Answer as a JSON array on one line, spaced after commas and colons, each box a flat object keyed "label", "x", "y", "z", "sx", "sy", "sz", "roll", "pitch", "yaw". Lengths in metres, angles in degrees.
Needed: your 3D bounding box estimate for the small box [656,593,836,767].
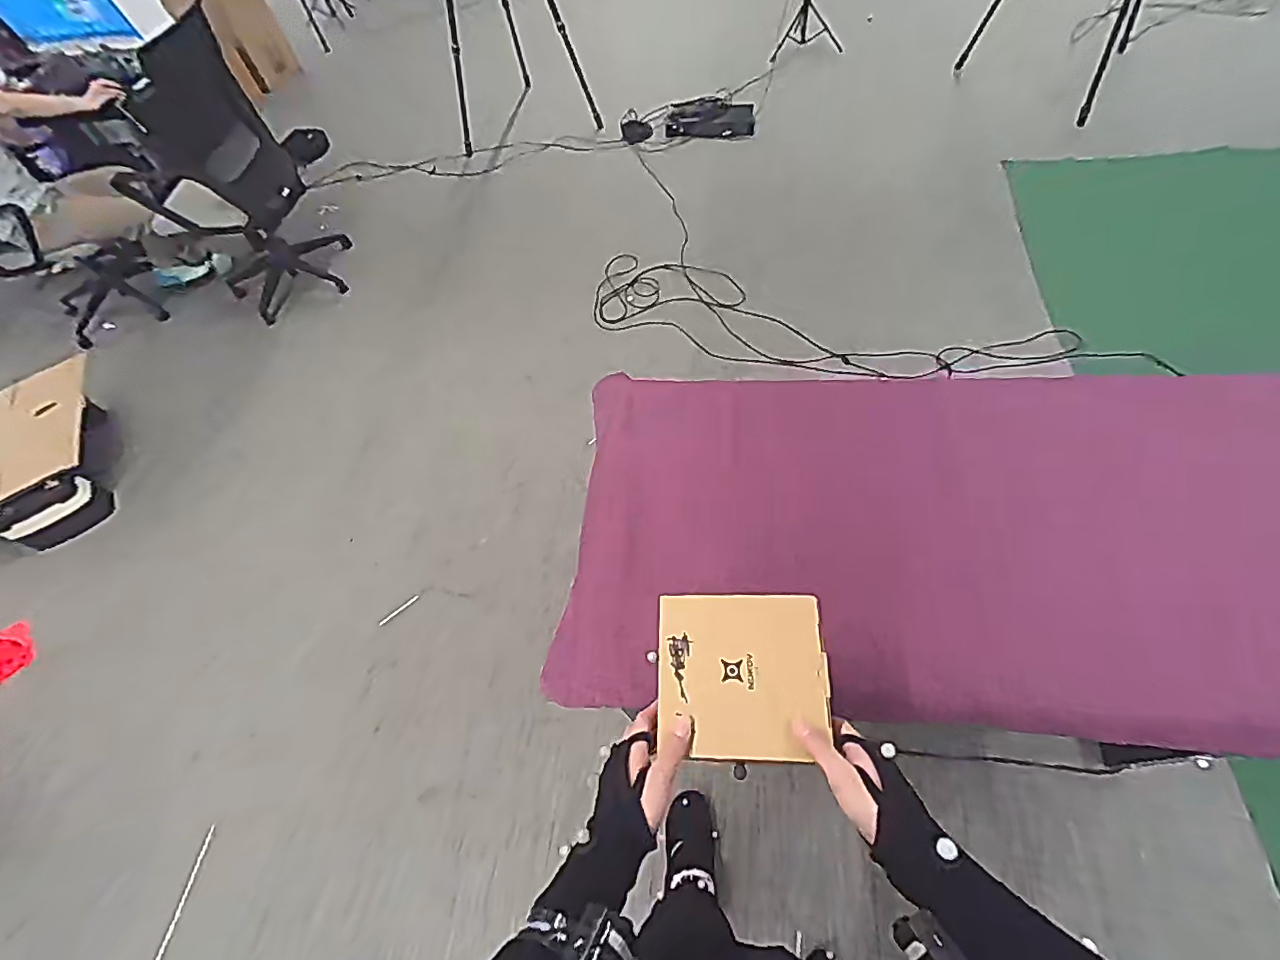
[{"label": "small box", "x": 0.115, "y": 0.237, "z": 0.632, "sx": 0.179, "sy": 0.176, "sz": 0.168, "roll": 0, "pitch": 61, "yaw": 7}]
